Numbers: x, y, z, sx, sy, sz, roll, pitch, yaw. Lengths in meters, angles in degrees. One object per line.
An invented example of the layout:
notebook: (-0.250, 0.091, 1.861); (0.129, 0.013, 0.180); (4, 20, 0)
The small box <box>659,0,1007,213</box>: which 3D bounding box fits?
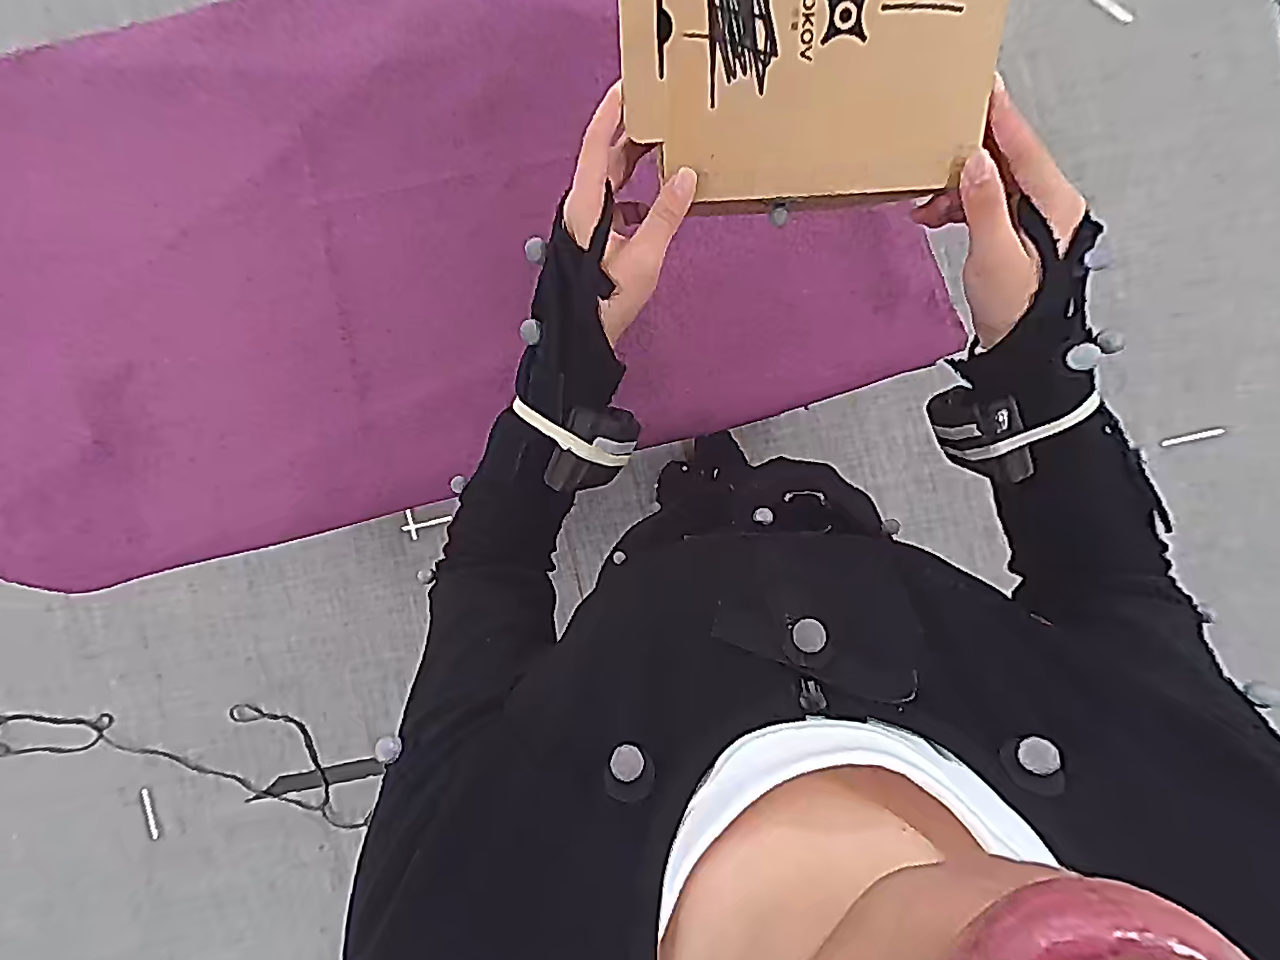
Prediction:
small box: (0.101, -0.271, 0.348); (0.179, 0.176, 0.168); (-2, 113, 3)
